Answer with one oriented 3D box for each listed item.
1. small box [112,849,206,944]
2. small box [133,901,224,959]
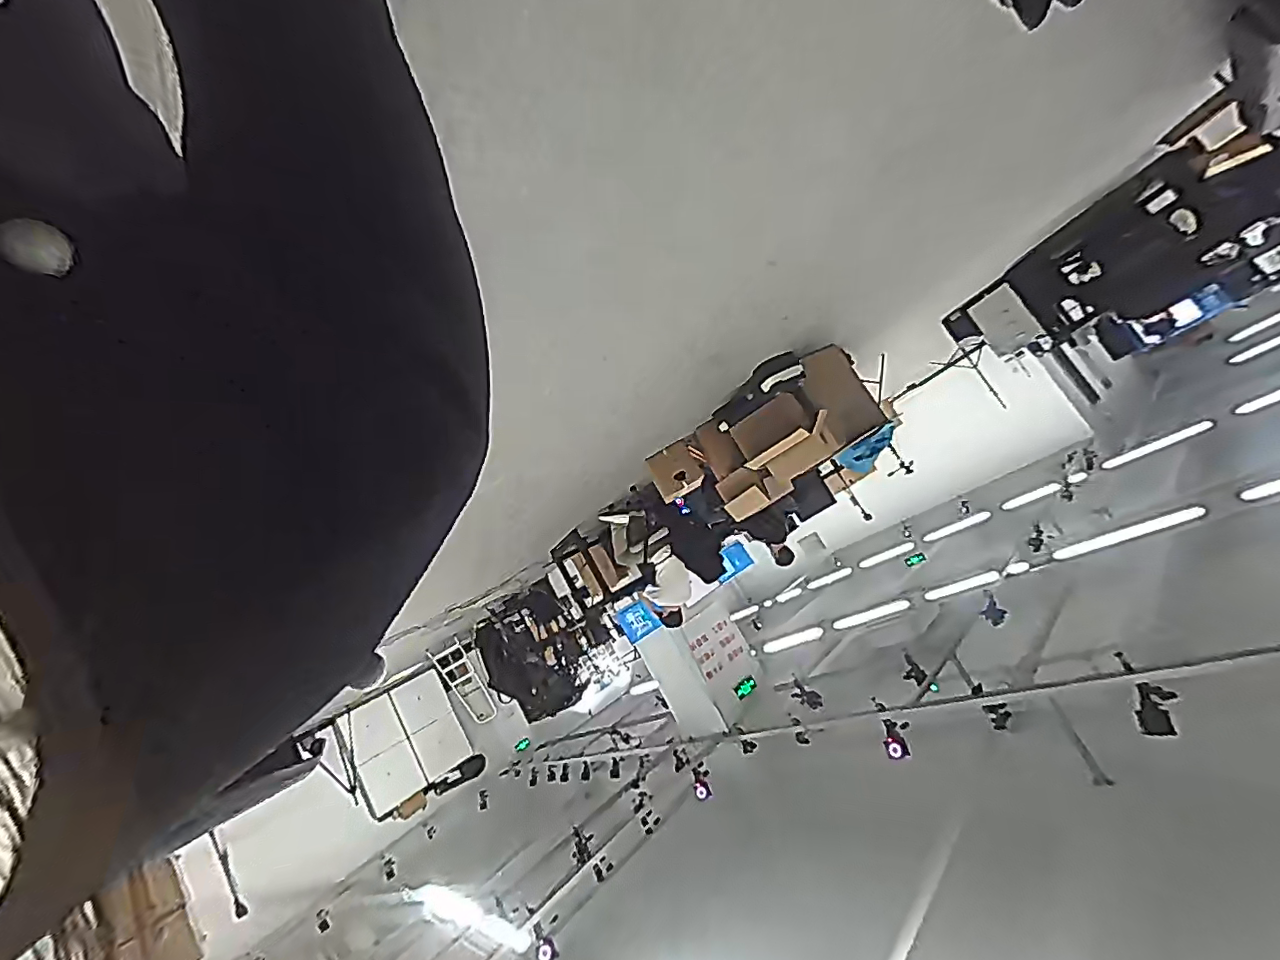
[{"bbox_3d":[-1.504,1.292,1.696,0.179,0.176,0.168,-21,166,-42],"label":"small box"},{"bbox_3d":[-1.414,1.442,1.664,0.168,0.176,0.179,-24,167,-41],"label":"small box"}]
